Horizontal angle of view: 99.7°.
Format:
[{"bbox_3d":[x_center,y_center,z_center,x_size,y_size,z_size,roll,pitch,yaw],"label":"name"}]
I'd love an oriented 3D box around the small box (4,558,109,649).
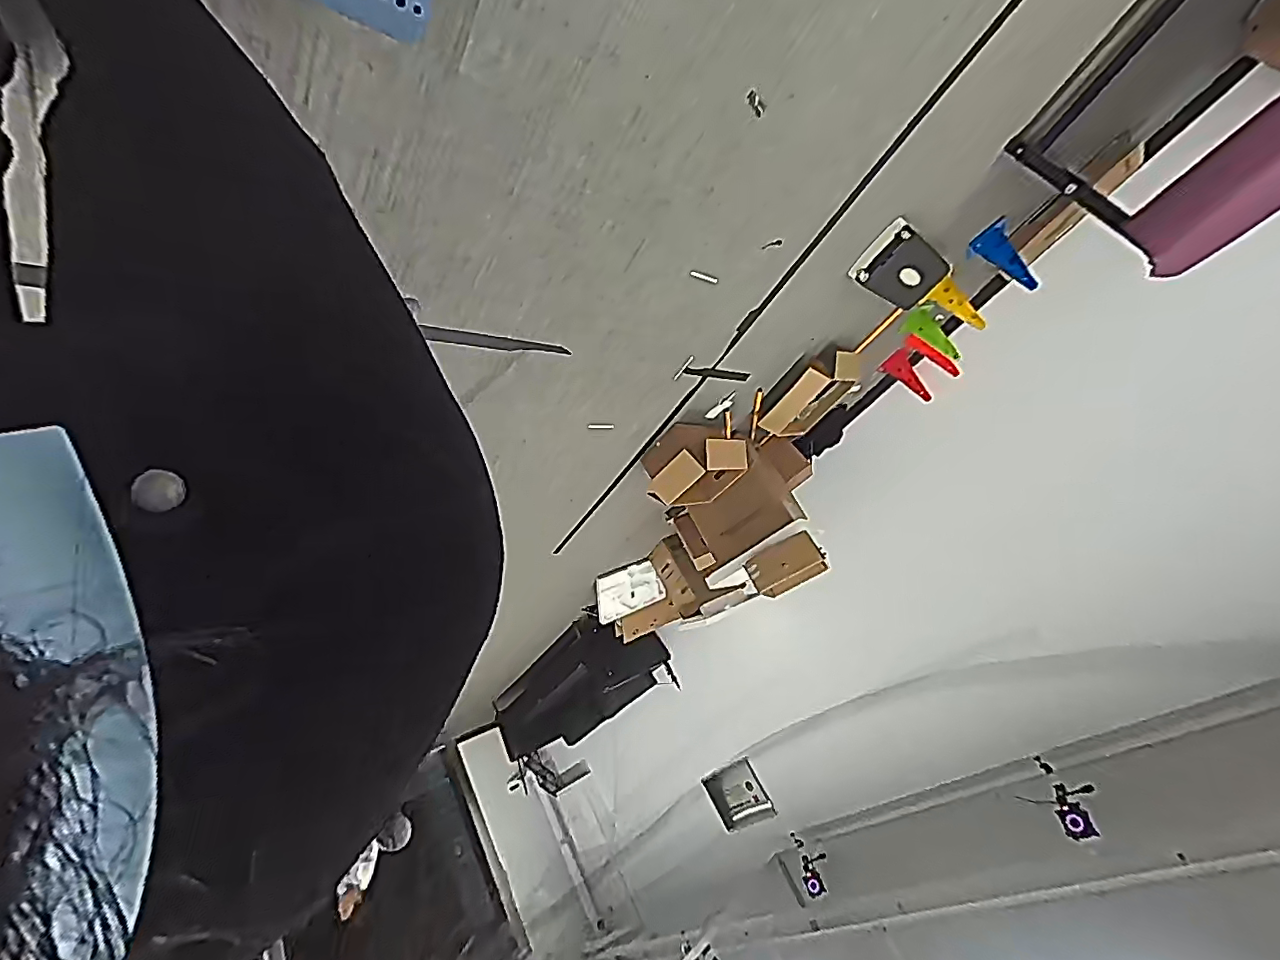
[{"bbox_3d":[-1.655,0.347,1.539,0.168,0.176,0.179,-15,153,-37],"label":"small box"}]
